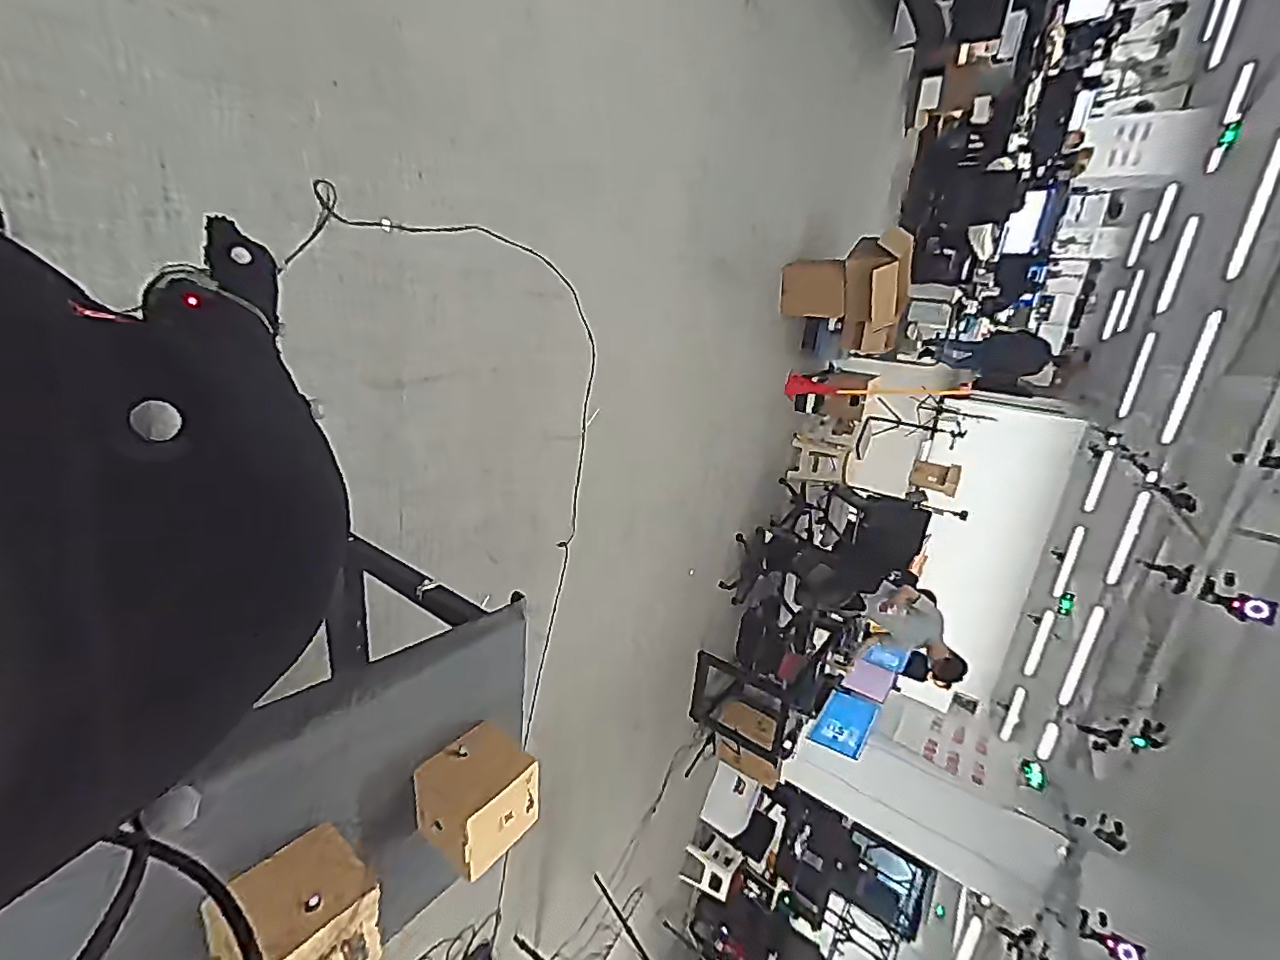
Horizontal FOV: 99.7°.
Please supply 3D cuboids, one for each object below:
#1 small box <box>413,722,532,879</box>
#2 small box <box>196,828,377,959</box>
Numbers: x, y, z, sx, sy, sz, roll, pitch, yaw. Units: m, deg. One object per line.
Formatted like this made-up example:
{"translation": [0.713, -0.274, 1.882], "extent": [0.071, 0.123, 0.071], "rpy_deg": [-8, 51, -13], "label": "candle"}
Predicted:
{"translation": [-0.339, 0.634, 1.091], "extent": [0.179, 0.176, 0.168], "rpy_deg": [-21, 122, -51], "label": "small box"}
{"translation": [-0.531, 0.686, 0.822], "extent": [0.179, 0.176, 0.168], "rpy_deg": [-18, 119, -52], "label": "small box"}
